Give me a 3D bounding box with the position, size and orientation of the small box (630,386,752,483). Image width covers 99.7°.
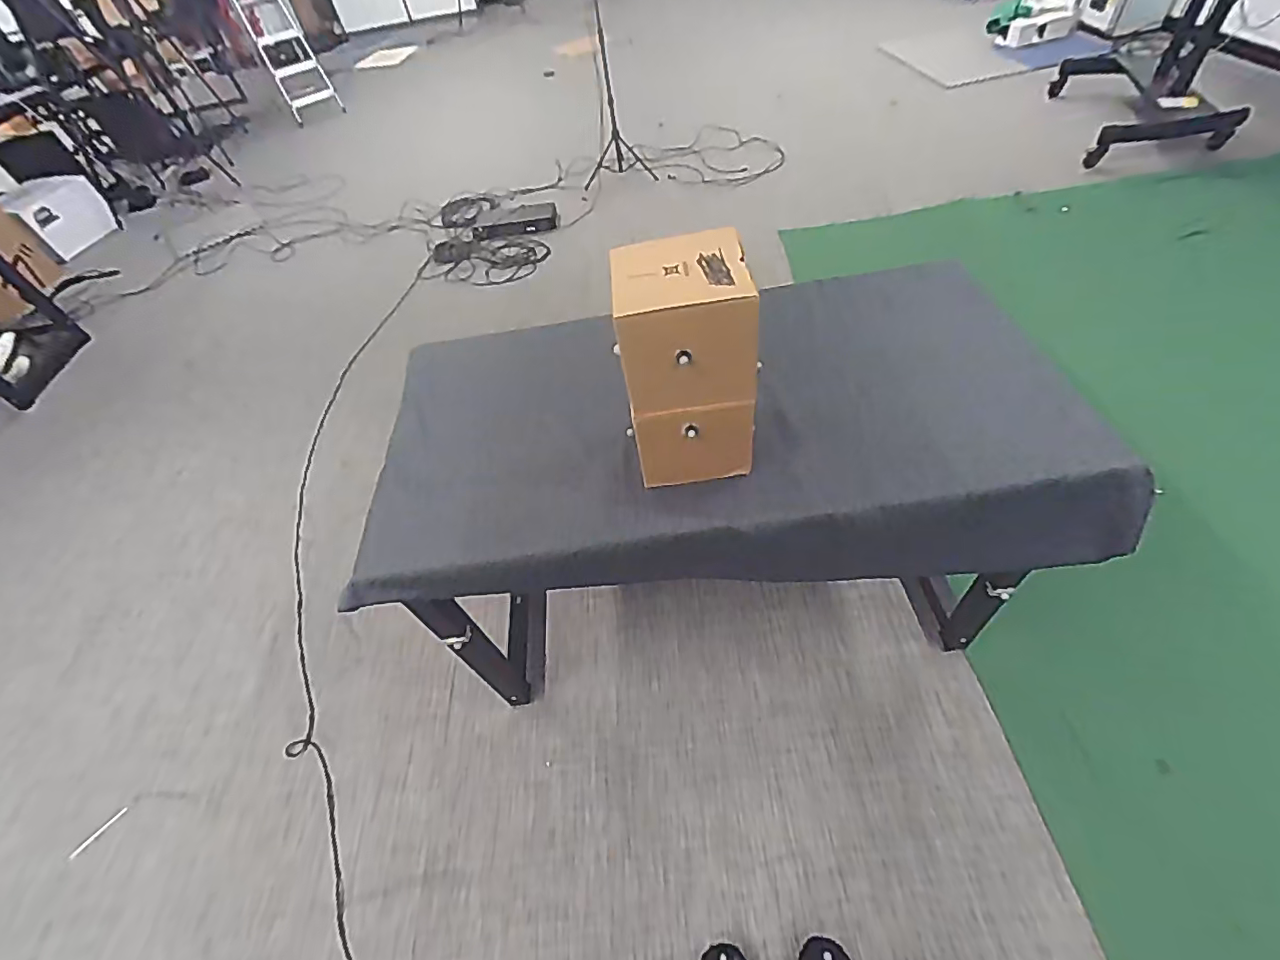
[{"bbox_3d":[0.078,-0.110,0.876,0.179,0.176,0.168,-7,52,2],"label":"small box"}]

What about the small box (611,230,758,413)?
[{"bbox_3d":[0.060,-0.213,0.750,0.179,0.176,0.168,-8,52,5],"label":"small box"}]
